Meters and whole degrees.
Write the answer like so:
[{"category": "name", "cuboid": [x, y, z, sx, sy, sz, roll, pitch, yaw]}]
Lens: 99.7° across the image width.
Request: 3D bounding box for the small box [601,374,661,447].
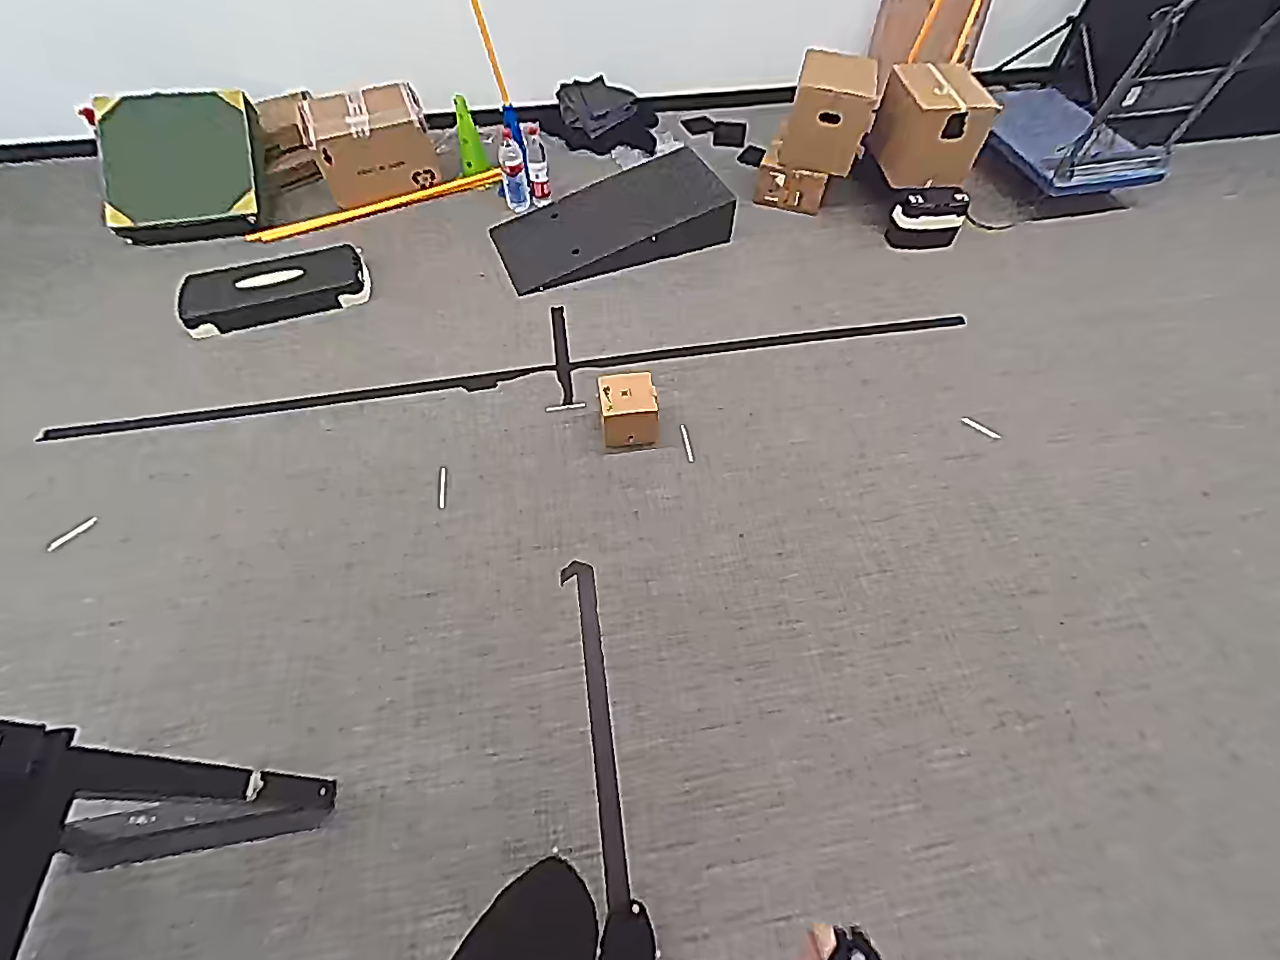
[{"category": "small box", "cuboid": [-0.035, -0.223, 1.765, 0.179, 0.176, 0.168, -6, 57, -5]}]
